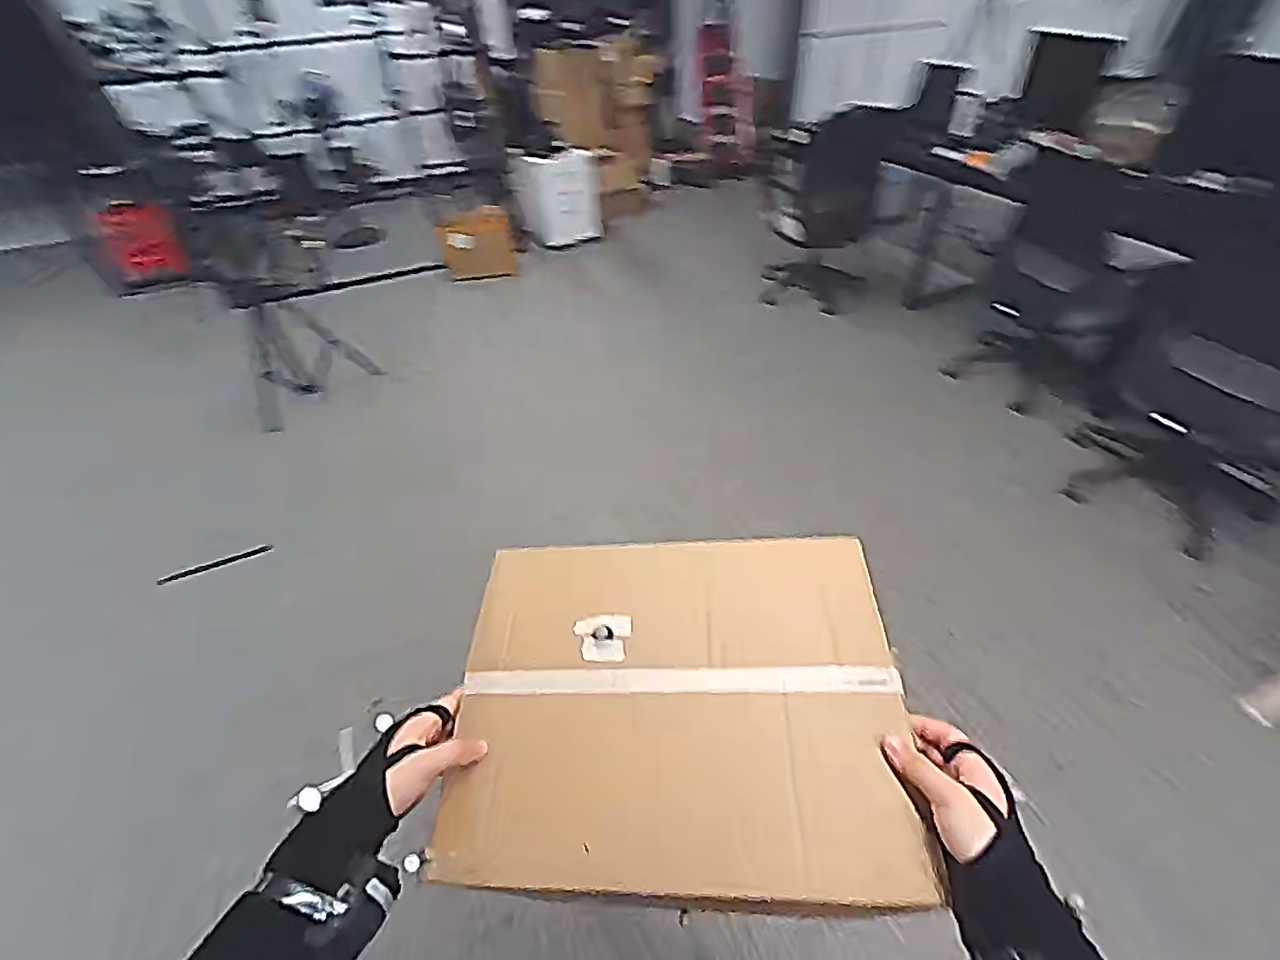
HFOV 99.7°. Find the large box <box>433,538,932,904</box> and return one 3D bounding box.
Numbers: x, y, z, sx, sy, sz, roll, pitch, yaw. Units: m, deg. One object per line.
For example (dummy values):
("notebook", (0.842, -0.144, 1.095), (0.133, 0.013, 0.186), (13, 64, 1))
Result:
("large box", (0.047, 0.294, 0.630), (0.408, 0.320, 0.320), (-5, 48, 7))
